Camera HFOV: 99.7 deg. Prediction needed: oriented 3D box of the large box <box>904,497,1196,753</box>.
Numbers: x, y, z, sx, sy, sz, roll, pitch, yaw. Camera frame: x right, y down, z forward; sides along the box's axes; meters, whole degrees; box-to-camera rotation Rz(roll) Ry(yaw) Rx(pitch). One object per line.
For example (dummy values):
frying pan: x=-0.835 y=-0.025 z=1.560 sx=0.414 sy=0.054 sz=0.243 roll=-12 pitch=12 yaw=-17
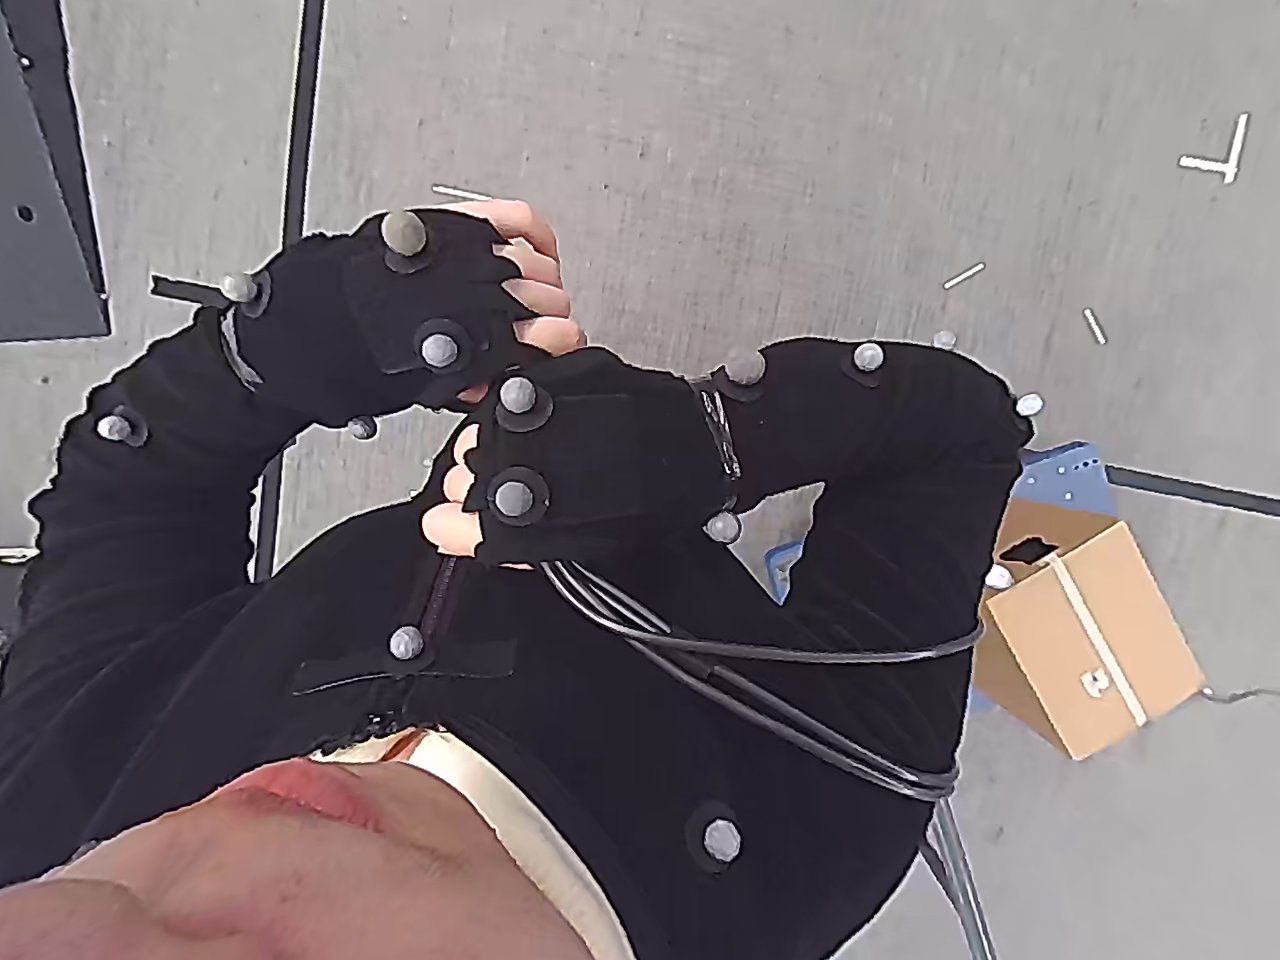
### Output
large box: x=0.891 y=0.299 z=1.224 sx=0.320 sy=0.320 sz=0.408 roll=-31 pitch=97 yaw=2
